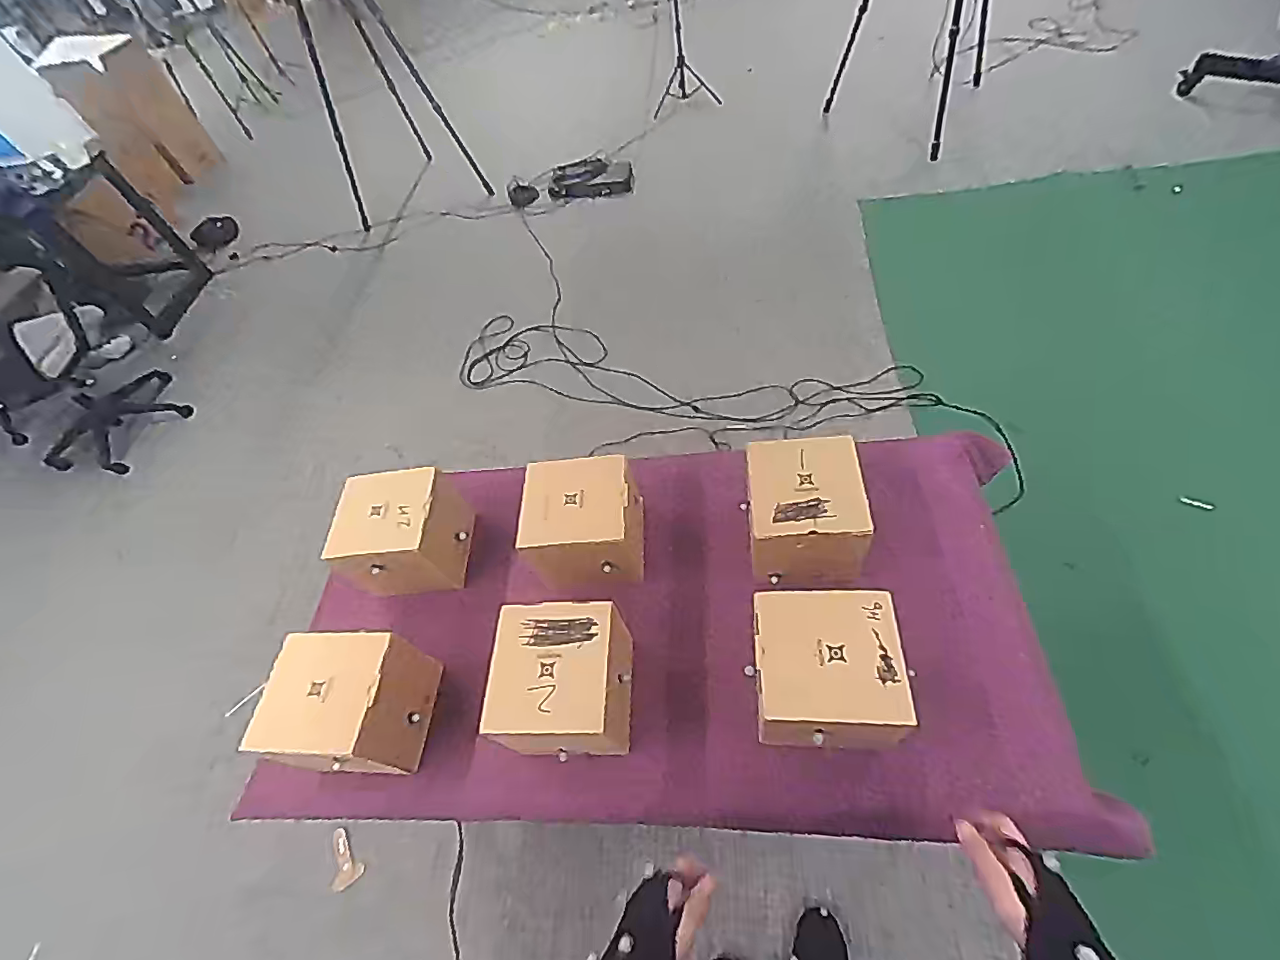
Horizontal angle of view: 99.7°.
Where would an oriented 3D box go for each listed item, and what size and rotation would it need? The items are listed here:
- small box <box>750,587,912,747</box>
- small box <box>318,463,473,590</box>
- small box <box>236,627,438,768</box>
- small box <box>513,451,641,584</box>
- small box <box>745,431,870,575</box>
[{"bbox_3d":[0.243,0.254,0.728,0.179,0.176,0.168,-3,55,12],"label":"small box"},{"bbox_3d":[-0.429,0.091,0.980,0.179,0.176,0.168,-6,56,7],"label":"small box"},{"bbox_3d":[-0.441,0.333,0.820,0.179,0.176,0.168,-3,55,9],"label":"small box"},{"bbox_3d":[-0.096,0.069,0.928,0.179,0.176,0.168,-5,55,9],"label":"small box"},{"bbox_3d":[0.257,0.046,0.866,0.168,0.176,0.179,-3,55,10],"label":"small box"}]
